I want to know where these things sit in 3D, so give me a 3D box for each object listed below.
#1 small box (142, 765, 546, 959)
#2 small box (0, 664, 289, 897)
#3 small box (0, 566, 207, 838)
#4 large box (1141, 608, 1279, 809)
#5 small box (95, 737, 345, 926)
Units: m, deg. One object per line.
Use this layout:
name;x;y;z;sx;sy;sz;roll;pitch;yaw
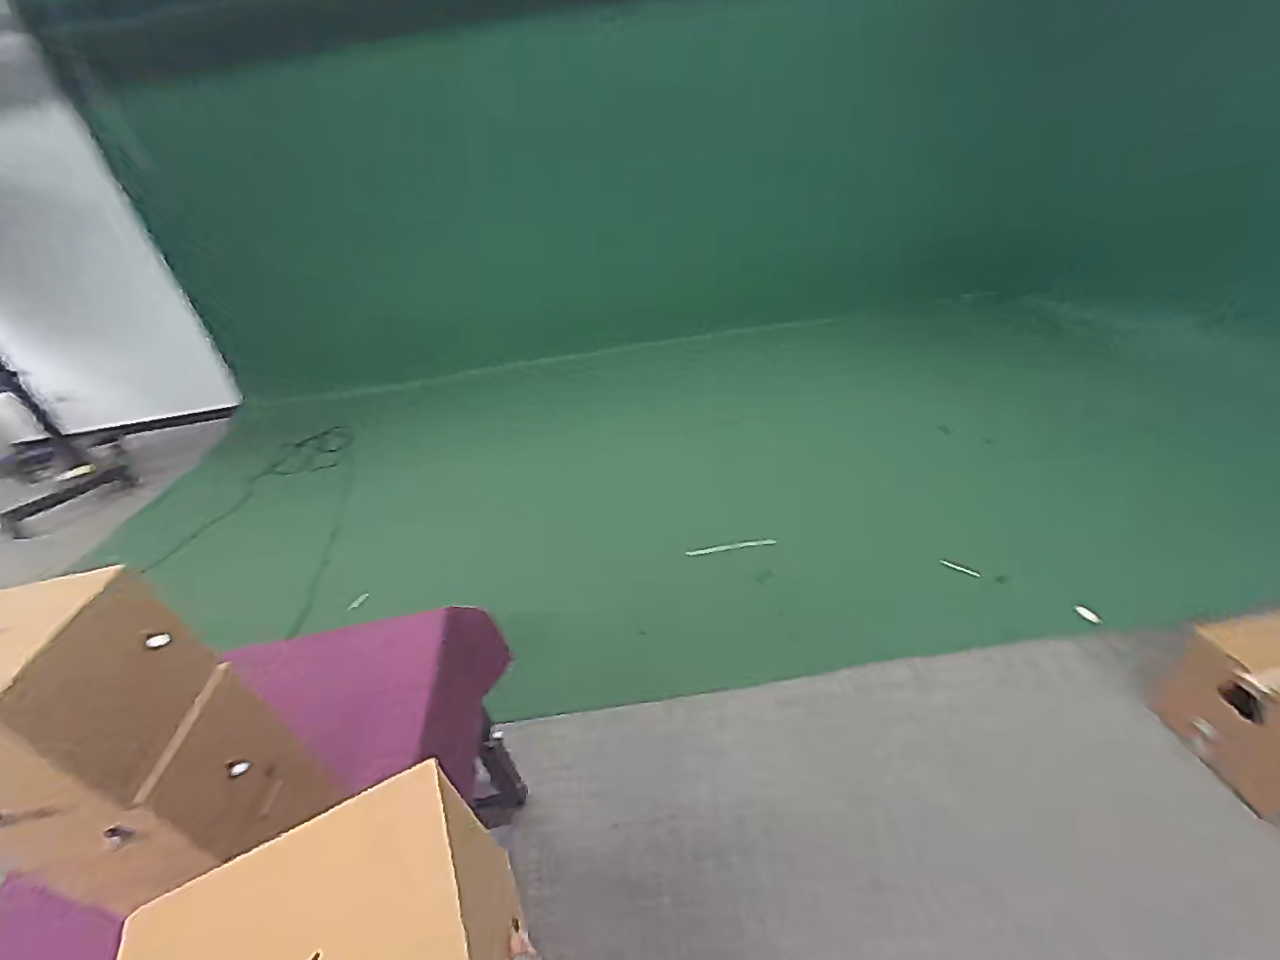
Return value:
small box;-0.149;0.313;0.313;0.179;0.176;0.168;-23;40;-14
small box;-0.557;0.346;0.628;0.179;0.176;0.168;-11;34;-1
small box;-0.584;0.216;0.532;0.168;0.176;0.179;-12;35;-1
large box;1.586;0.536;1.310;0.408;0.320;0.320;-9;34;-2
small box;-0.534;0.478;0.724;0.179;0.176;0.168;-10;34;-1
